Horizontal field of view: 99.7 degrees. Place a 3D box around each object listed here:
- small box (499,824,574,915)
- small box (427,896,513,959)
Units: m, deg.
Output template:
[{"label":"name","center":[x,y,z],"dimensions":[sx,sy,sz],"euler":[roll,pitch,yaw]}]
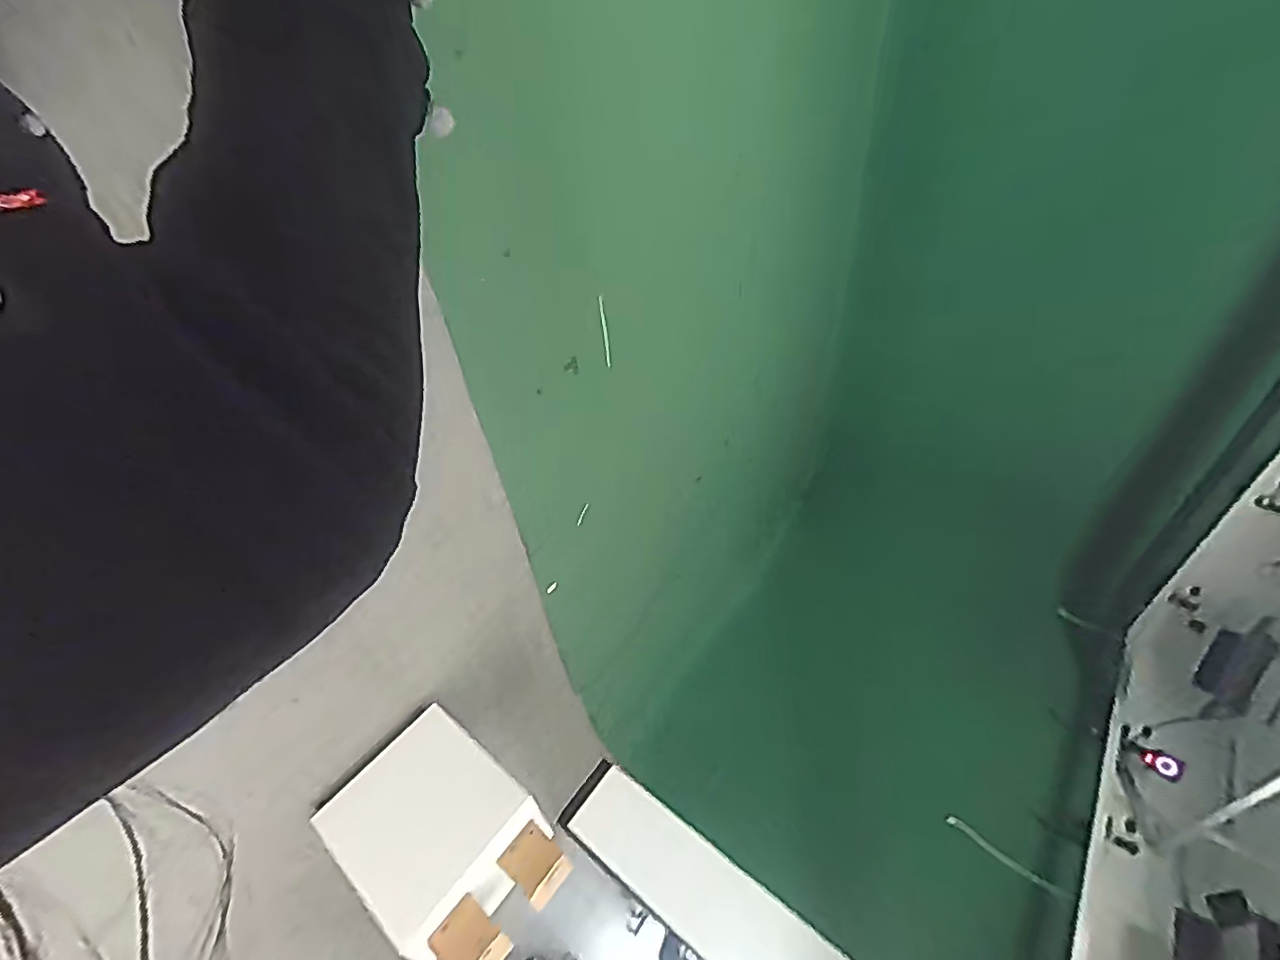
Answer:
[{"label":"small box","center":[-0.351,1.308,1.827],"dimensions":[0.168,0.176,0.179],"euler":[-40,141,-34]},{"label":"small box","center":[-0.521,1.437,1.663],"dimensions":[0.168,0.176,0.179],"euler":[-39,140,-37]}]
